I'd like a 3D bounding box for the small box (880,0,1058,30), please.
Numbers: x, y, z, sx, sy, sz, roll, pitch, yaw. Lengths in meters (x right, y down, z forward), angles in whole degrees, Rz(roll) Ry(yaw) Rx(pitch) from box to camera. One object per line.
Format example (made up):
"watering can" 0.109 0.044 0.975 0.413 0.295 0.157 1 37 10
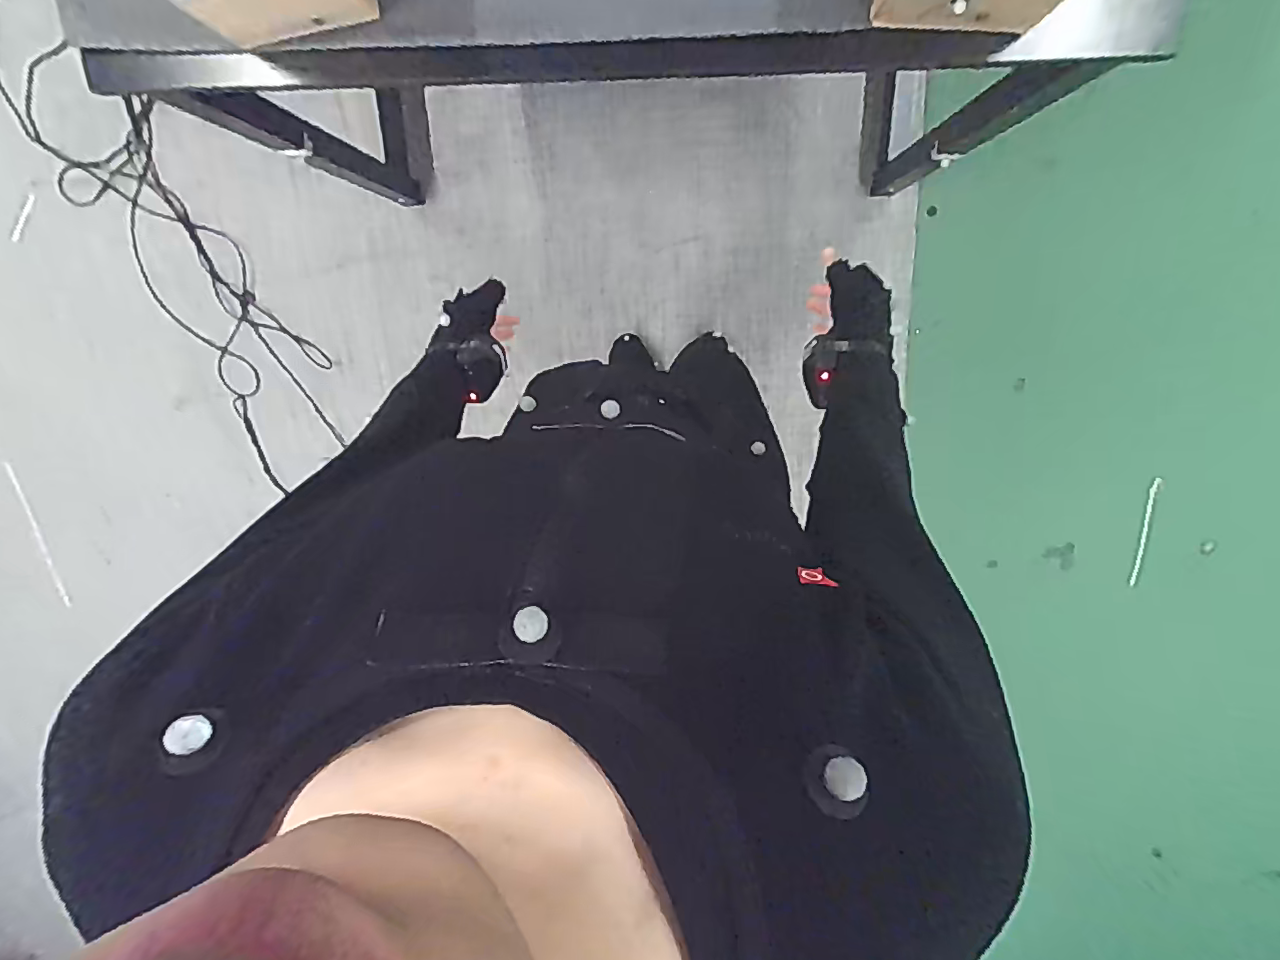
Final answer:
"small box" 0.328 -0.538 0.466 0.168 0.176 0.179 5 108 2
